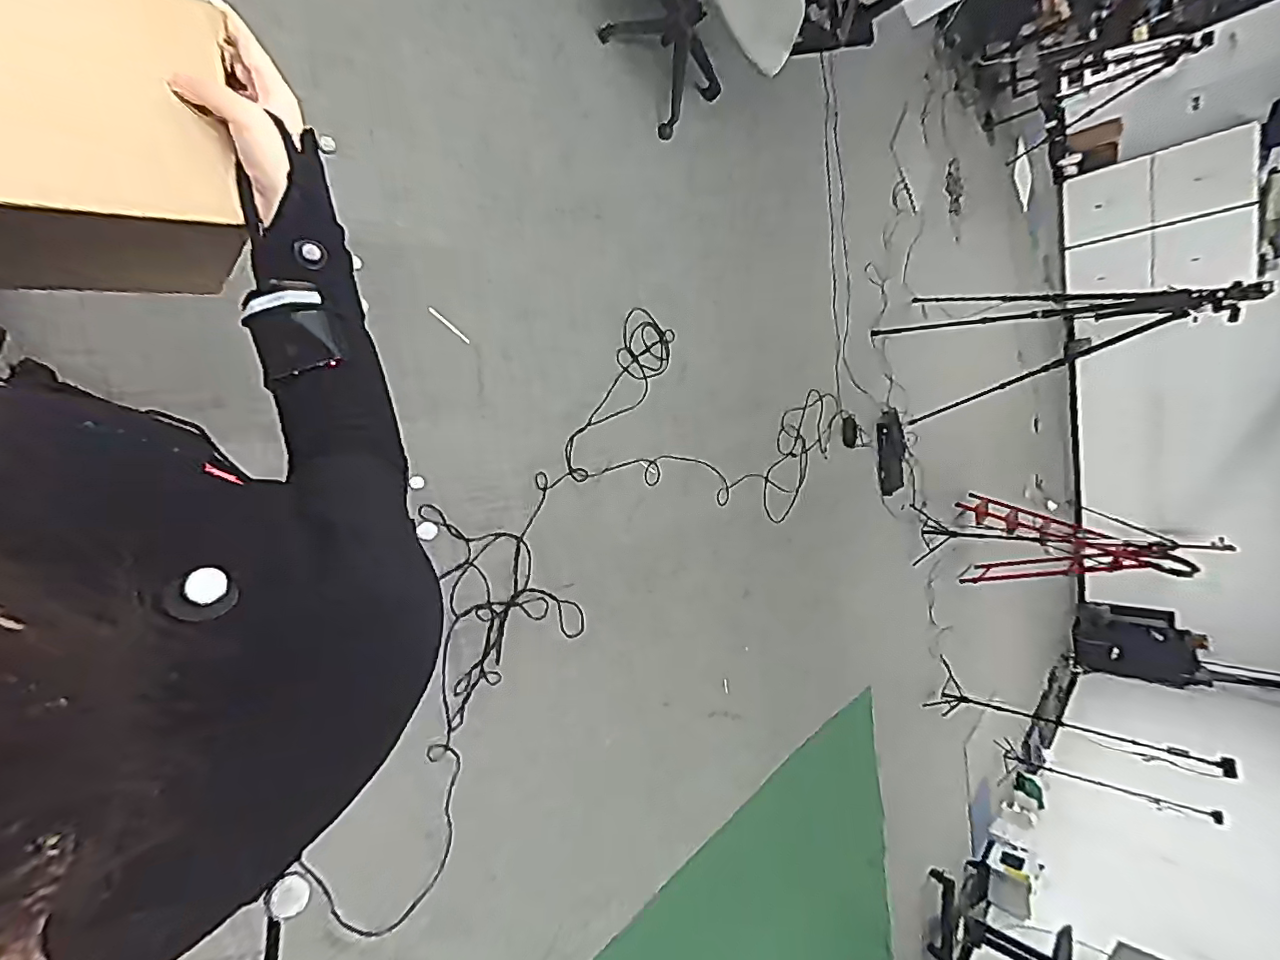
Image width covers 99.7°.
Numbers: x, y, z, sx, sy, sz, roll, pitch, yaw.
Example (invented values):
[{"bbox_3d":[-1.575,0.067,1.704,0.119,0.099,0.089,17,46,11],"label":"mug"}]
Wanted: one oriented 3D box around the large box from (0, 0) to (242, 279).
[{"bbox_3d":[-0.565,-0.327,0.376,0.408,0.320,0.320,-14,104,-39],"label":"large box"}]
